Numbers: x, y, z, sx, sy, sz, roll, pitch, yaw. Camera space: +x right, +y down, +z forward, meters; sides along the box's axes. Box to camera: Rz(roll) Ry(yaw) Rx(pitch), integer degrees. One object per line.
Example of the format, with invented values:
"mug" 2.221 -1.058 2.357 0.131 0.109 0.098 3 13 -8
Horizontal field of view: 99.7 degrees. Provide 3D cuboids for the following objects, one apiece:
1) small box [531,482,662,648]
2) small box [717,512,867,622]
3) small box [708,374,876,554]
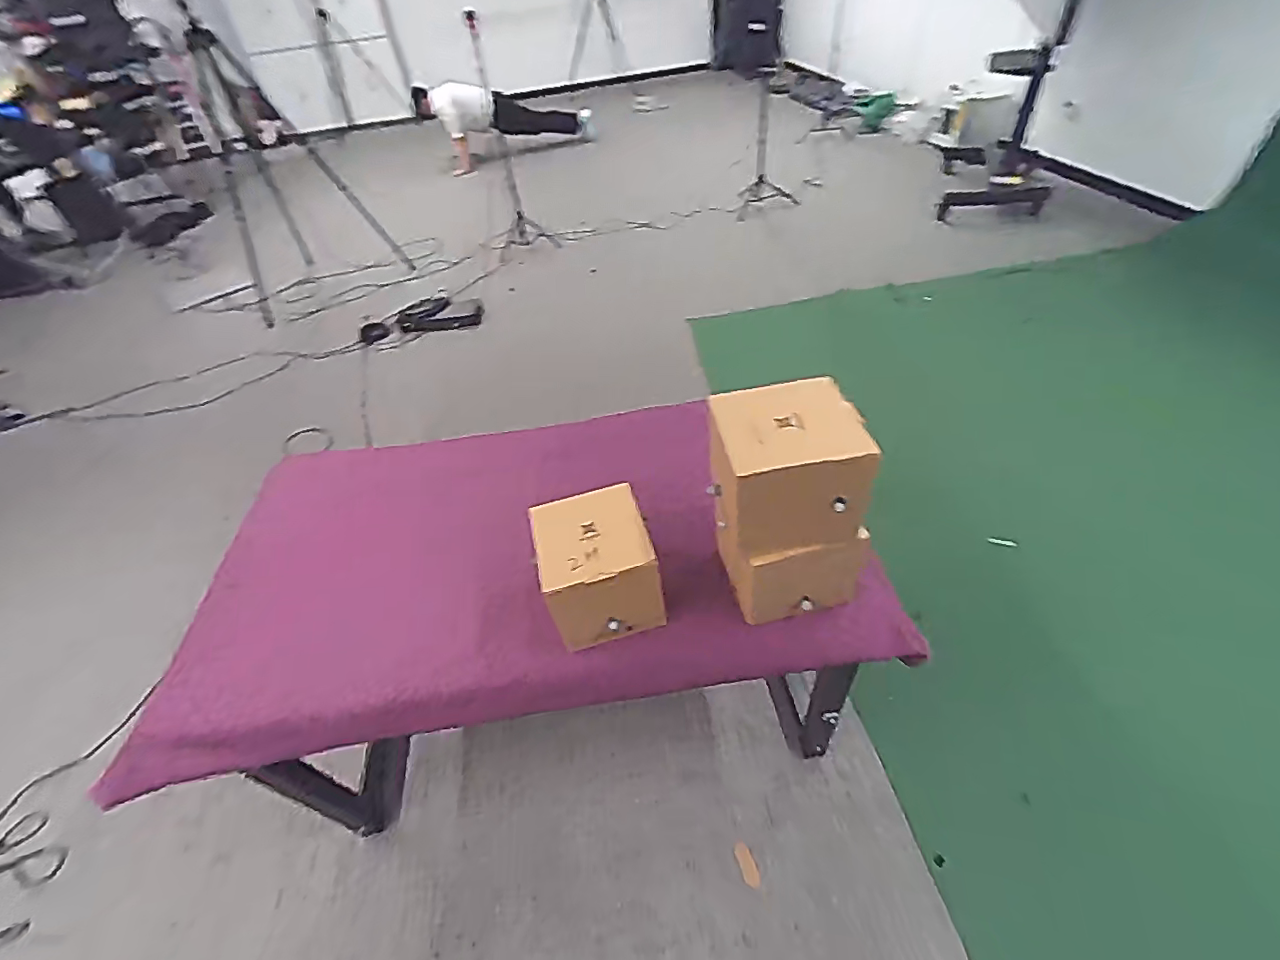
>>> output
"small box" -0.069 0.136 0.868 0.168 0.176 0.179 -15 44 -6
"small box" 0.226 0.099 0.858 0.179 0.176 0.168 -14 44 -4
"small box" 0.195 -0.019 0.749 0.179 0.176 0.168 -10 45 1
